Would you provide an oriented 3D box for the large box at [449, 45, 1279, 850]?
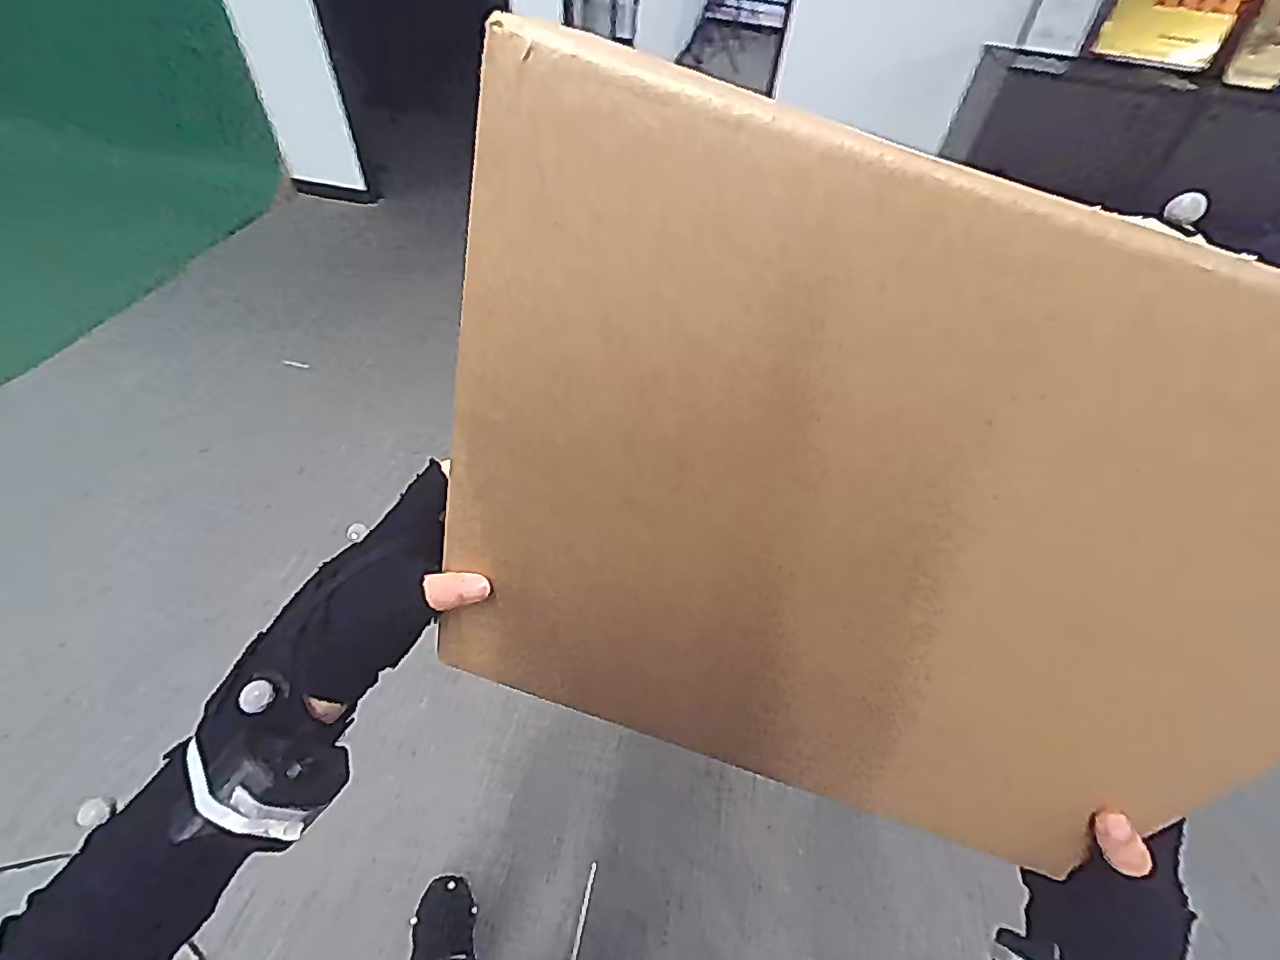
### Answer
[{"bbox_3d":[0.134,-0.024,0.372,0.408,0.320,0.320,20,35,-1],"label":"large box"}]
